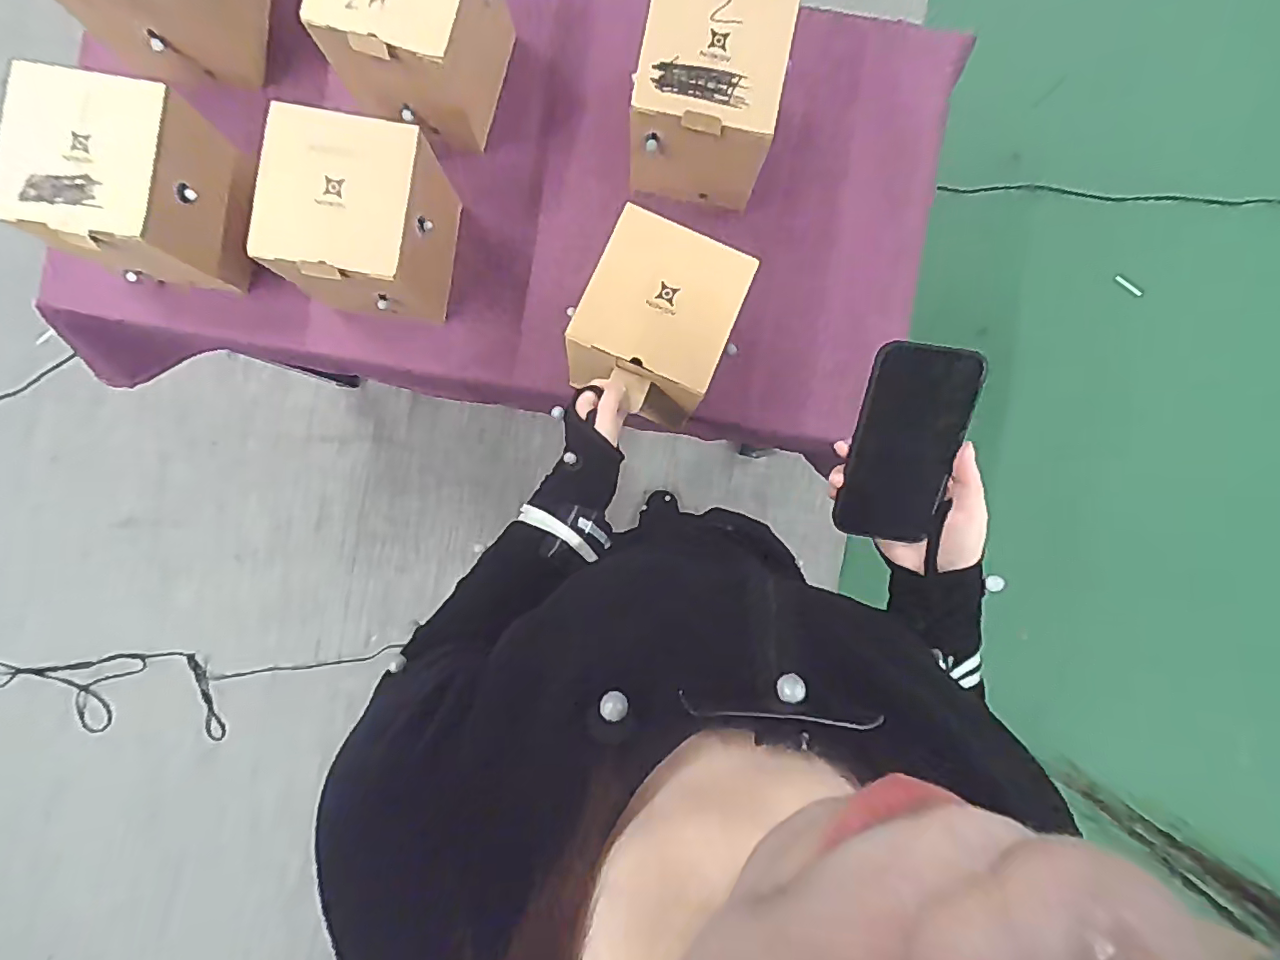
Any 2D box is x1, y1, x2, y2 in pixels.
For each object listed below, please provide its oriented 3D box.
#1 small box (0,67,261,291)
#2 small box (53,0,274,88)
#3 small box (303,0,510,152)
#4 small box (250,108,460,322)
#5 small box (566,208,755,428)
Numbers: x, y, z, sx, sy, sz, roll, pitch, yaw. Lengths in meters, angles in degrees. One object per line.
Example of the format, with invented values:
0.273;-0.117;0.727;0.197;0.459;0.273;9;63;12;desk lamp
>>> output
-0.611;-0.355;0.673;0.168;0.176;0.179;8;88;-2;small box
-0.593;-0.634;0.674;0.168;0.176;0.179;5;91;-2;small box
-0.274;-0.563;0.680;0.168;0.176;0.179;16;90;-1;small box
-0.340;-0.314;0.680;0.168;0.176;0.179;10;89;-2;small box
0.018;-0.187;0.675;0.168;0.176;0.179;23;82;-1;small box
